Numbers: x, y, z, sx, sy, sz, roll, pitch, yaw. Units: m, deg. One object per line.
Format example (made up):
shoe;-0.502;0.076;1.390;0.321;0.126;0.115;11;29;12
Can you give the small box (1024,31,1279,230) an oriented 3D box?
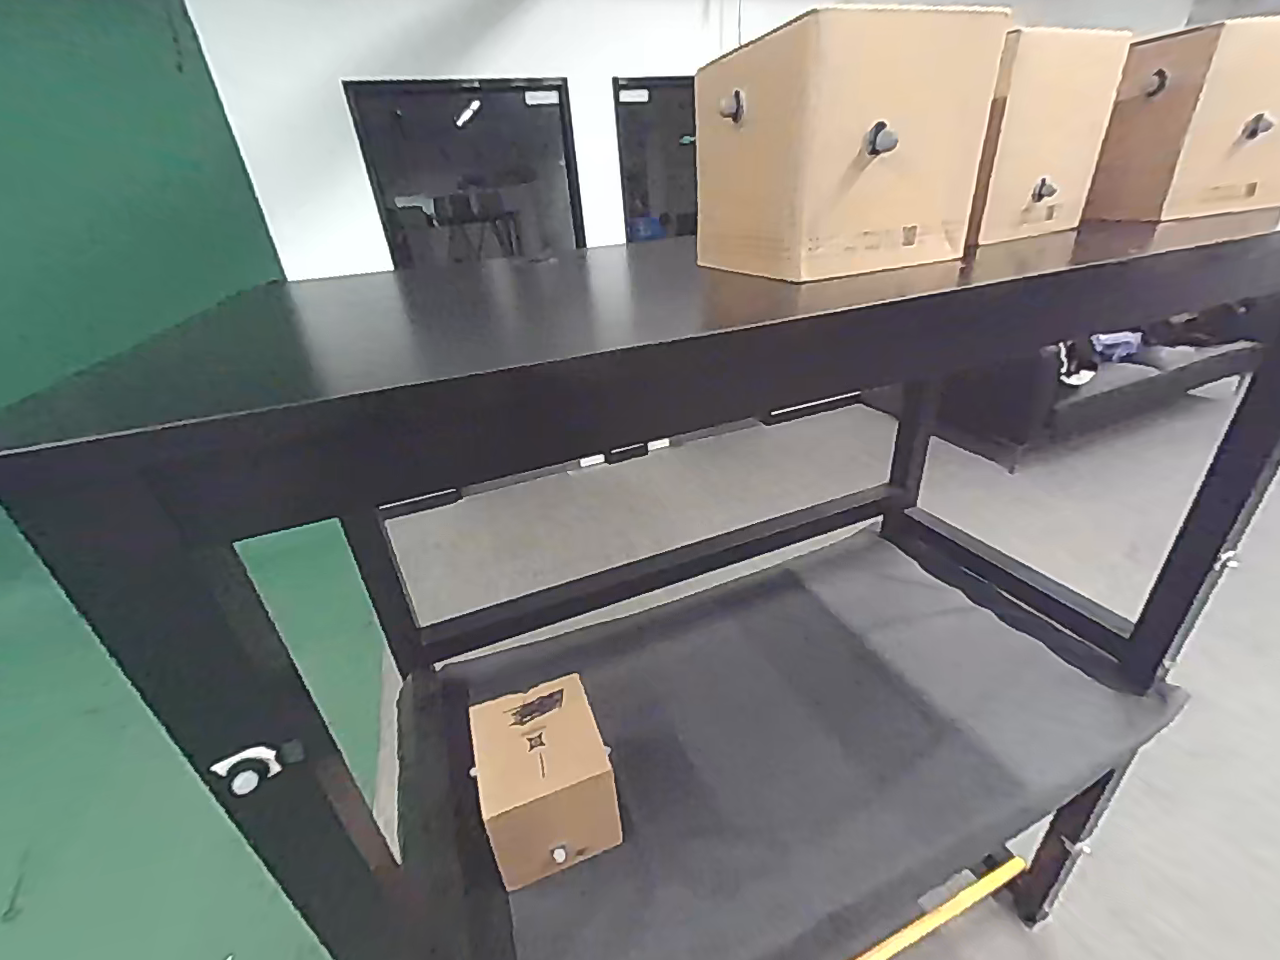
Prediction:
small box;0.591;-0.385;0.616;0.168;0.176;0.179;-9;28;-8

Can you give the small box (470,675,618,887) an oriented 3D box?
small box;-0.138;0.423;0.774;0.168;0.176;0.179;-14;30;-17
